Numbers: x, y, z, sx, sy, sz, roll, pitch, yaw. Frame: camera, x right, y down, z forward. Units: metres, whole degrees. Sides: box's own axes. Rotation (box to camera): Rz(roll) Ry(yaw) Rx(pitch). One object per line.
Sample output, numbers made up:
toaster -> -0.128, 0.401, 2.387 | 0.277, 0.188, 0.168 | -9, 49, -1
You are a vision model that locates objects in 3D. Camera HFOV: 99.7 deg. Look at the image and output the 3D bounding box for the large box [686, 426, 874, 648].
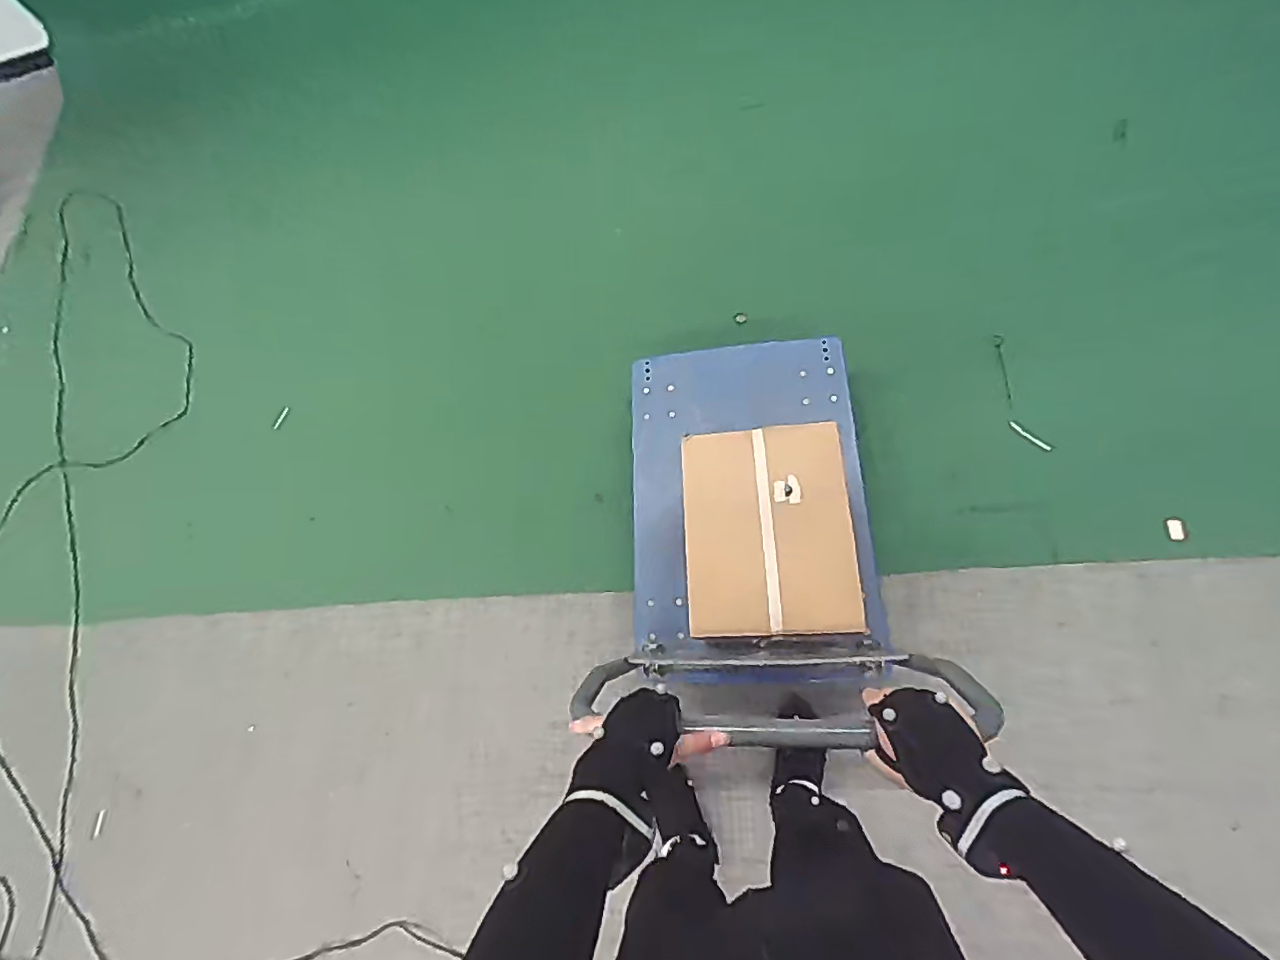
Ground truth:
large box -> 0.280, 0.143, 1.162 | 0.320, 0.320, 0.408 | -5, 70, 10
